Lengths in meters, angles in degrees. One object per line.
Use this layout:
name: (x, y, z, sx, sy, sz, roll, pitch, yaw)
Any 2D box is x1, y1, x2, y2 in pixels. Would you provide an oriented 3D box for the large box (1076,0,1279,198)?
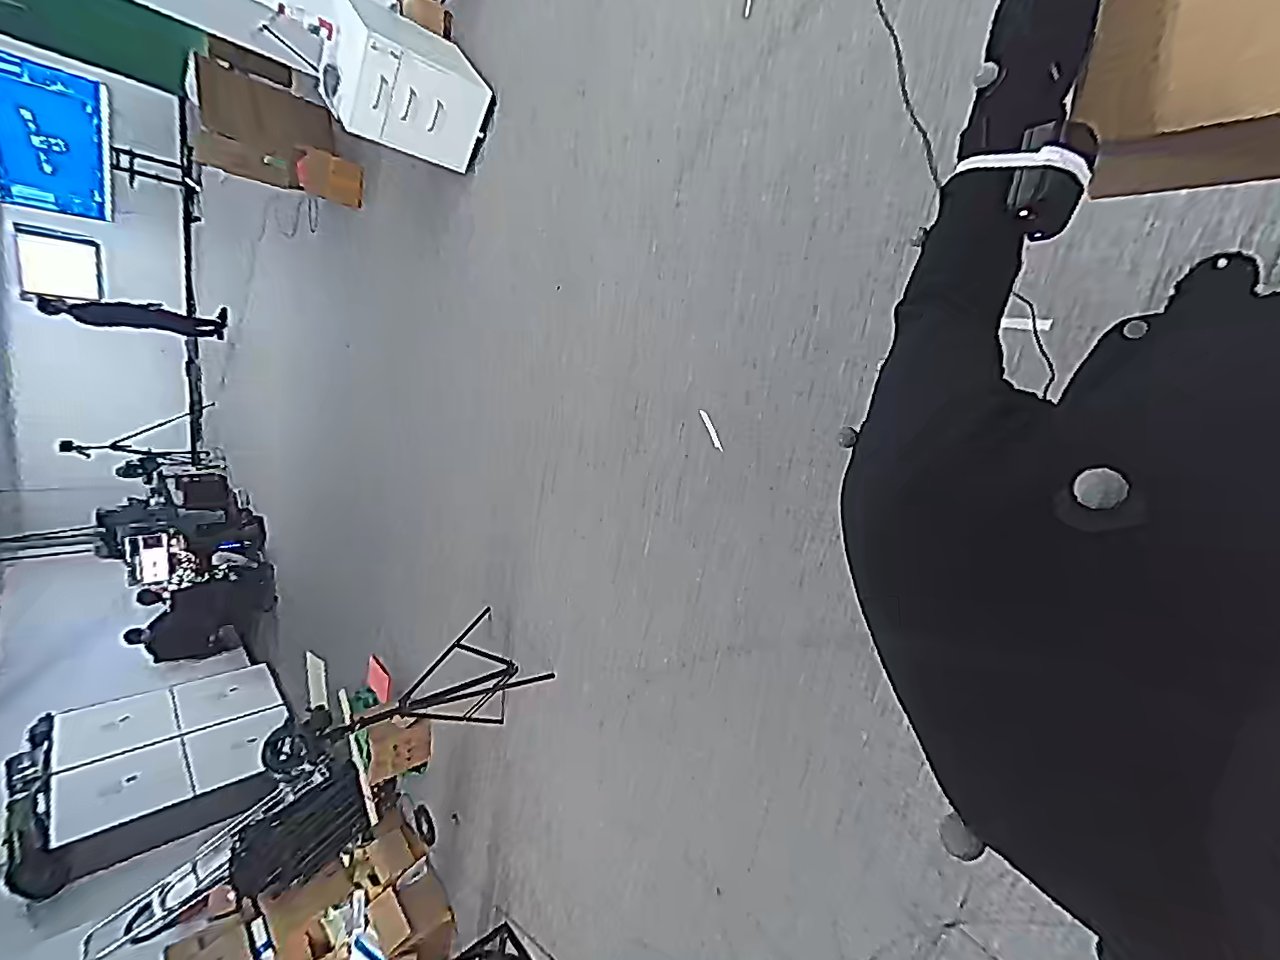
large box: (0.590, -0.421, 0.379, 0.408, 0.320, 0.320, 12, 112, 39)
